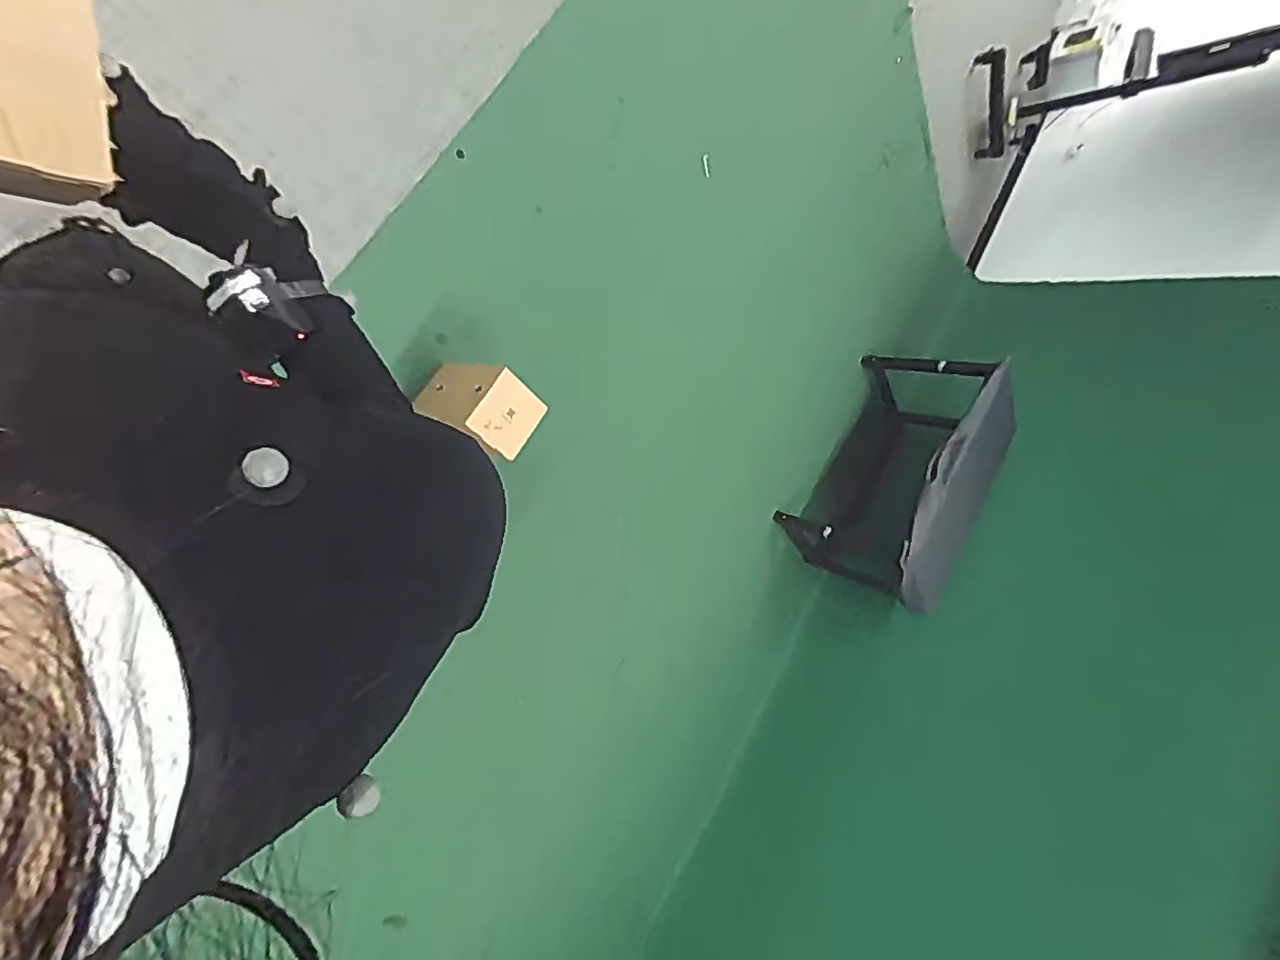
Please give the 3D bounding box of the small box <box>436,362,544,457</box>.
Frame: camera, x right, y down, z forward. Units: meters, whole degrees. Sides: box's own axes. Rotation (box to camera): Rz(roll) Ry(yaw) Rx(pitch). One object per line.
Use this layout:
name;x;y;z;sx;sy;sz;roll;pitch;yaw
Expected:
small box;-0.390;-0.187;1.392;0.168;0.176;0.179;45;70;-43

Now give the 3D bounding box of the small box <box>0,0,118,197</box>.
small box;-0.406;-0.265;0.284;0.168;0.176;0.179;-10;111;-51
